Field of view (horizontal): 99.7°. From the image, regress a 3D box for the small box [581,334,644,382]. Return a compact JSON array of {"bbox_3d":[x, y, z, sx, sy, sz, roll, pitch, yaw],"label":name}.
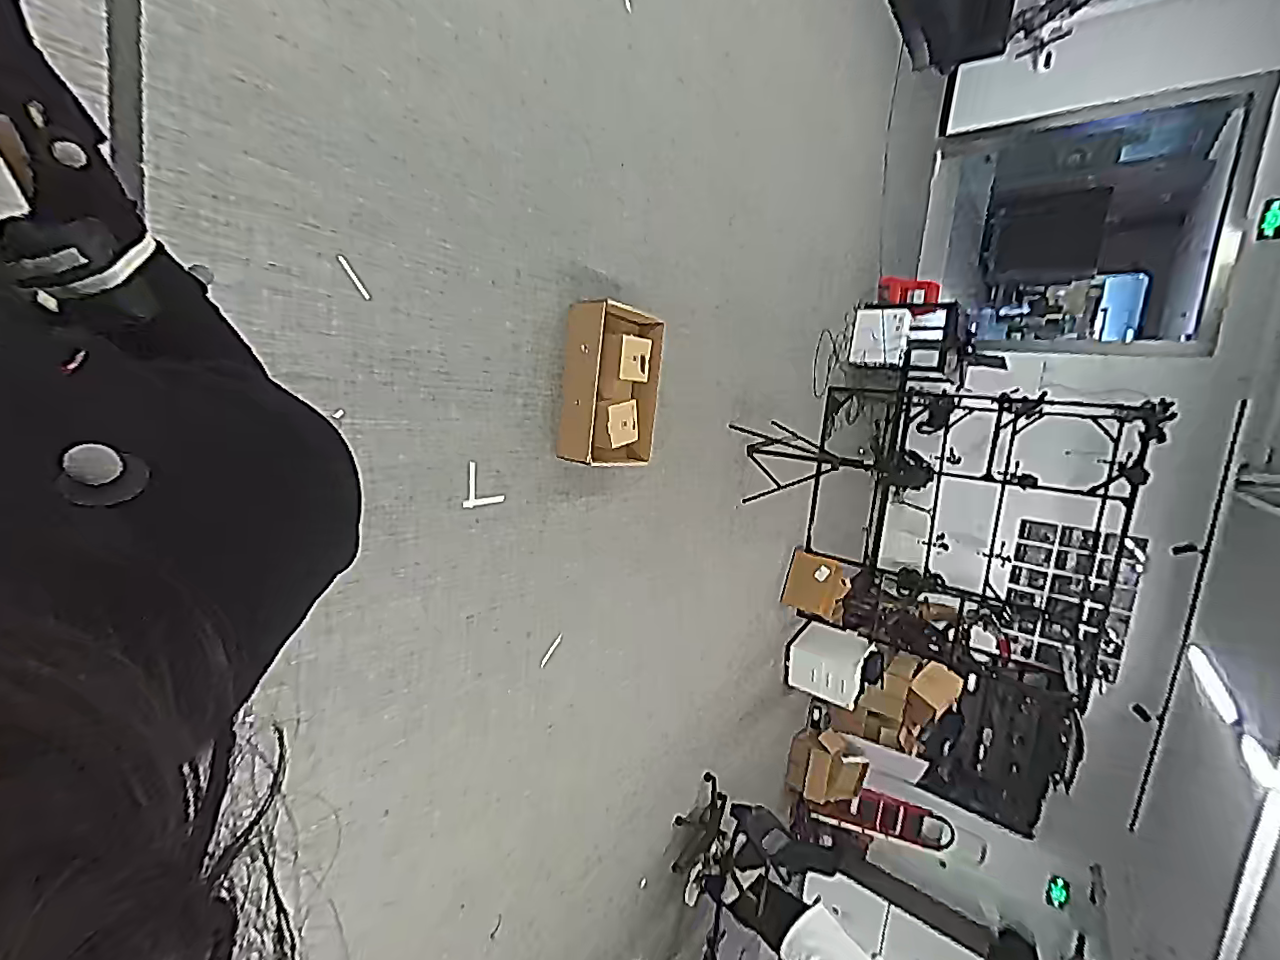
[{"bbox_3d":[-0.109,-0.484,2.147,0.179,0.176,0.168,-7,106,-53],"label":"small box"}]
